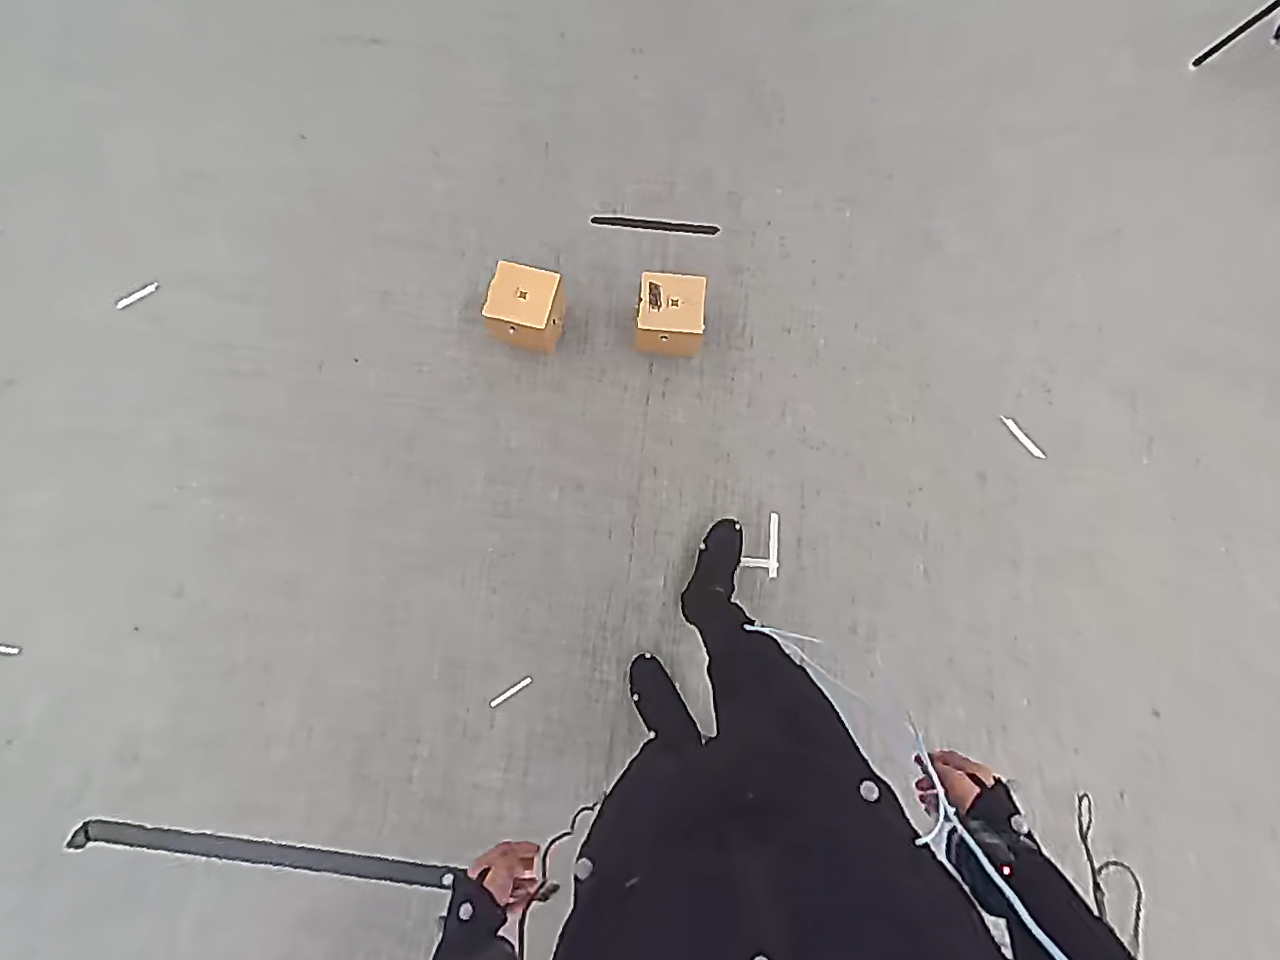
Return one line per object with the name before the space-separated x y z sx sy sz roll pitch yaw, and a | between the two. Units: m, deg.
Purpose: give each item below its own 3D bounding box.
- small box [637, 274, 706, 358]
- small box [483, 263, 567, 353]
small box | 0.083 -0.452 1.513 0.179 0.176 0.168 5 80 -1
small box | -0.313 -0.472 1.514 0.179 0.176 0.168 14 80 3
